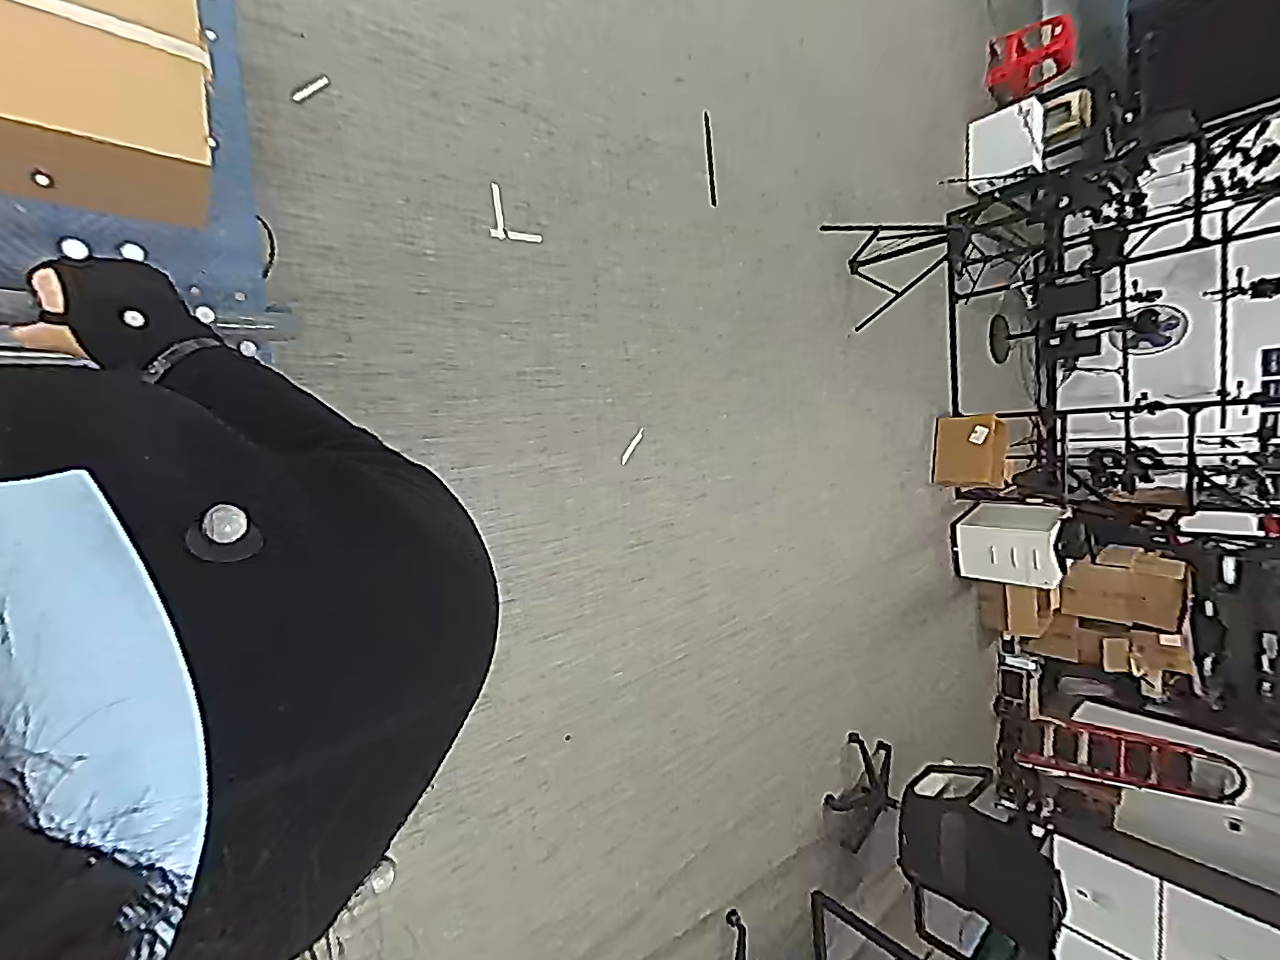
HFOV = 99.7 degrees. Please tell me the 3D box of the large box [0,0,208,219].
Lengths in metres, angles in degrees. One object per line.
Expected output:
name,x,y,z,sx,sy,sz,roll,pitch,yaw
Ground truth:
large box,-0.919,-0.632,0.807,0.408,0.320,0.320,-6,95,-39
